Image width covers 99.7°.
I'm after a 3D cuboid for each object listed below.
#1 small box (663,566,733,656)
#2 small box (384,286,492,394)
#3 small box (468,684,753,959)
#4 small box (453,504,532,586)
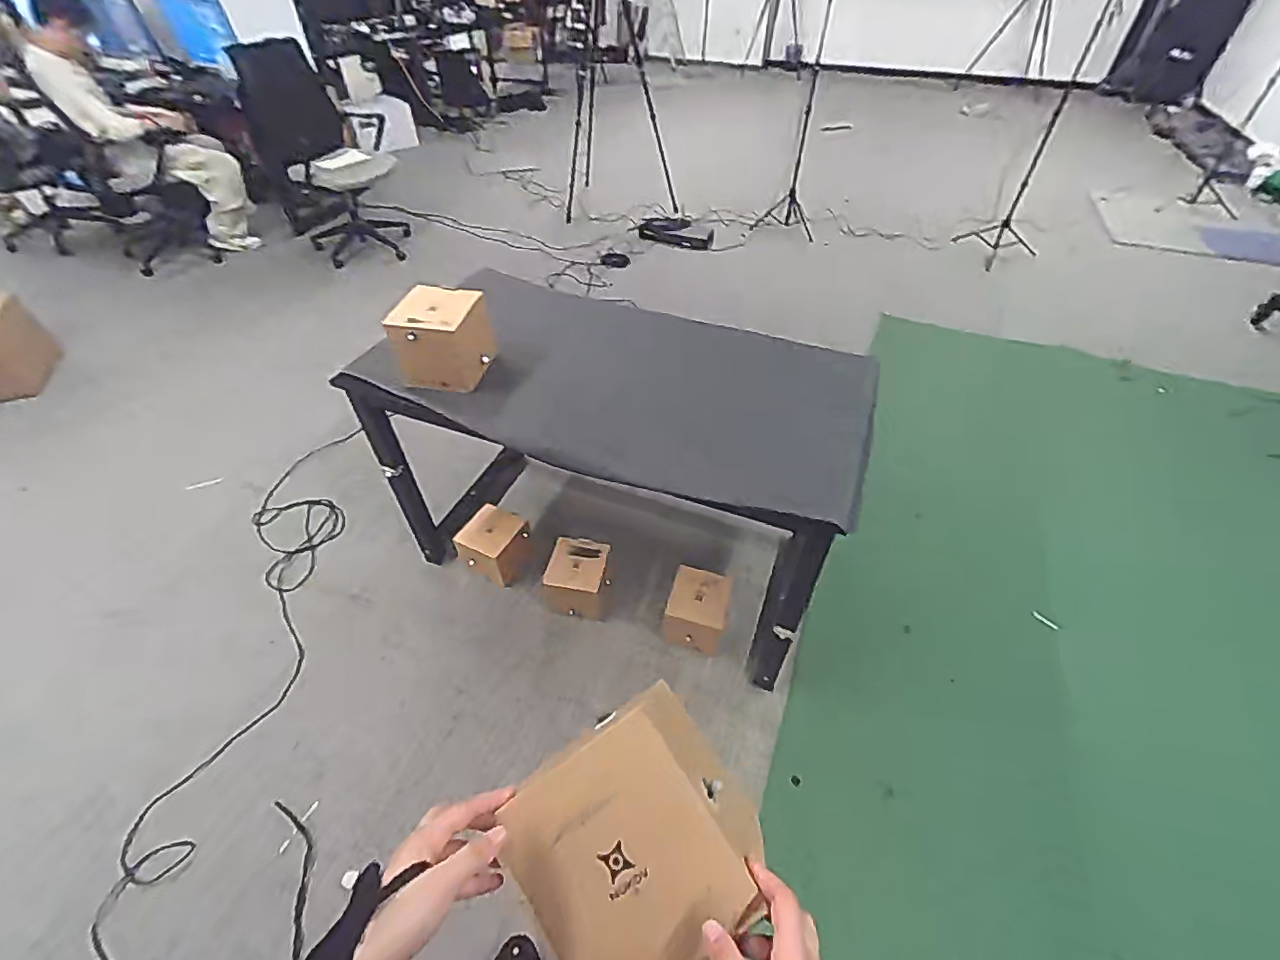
[{"bbox_3d":[0.167,0.386,1.580,0.168,0.176,0.179,13,47,12],"label":"small box"},{"bbox_3d":[-0.455,-0.325,1.254,0.168,0.176,0.179,7,46,7],"label":"small box"},{"bbox_3d":[-0.015,0.315,0.496,0.168,0.176,0.179,-37,74,-1],"label":"small box"},{"bbox_3d":[-0.468,0.213,1.750,0.168,0.176,0.179,20,48,18],"label":"small box"}]
